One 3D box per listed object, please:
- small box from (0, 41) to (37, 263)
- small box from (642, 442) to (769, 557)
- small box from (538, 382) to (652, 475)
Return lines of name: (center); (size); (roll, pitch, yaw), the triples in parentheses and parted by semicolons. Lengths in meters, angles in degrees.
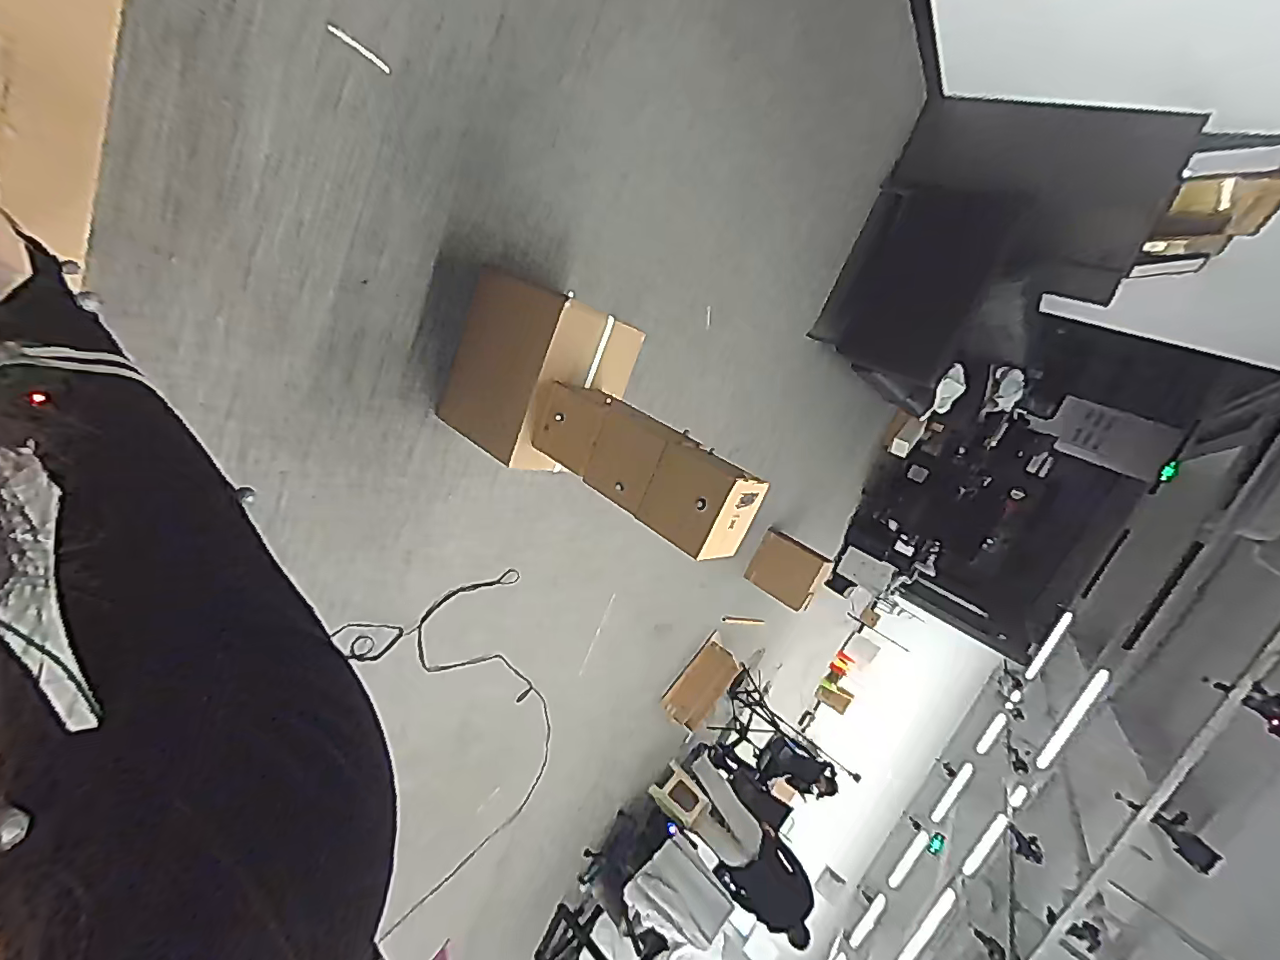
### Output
small box: (-0.603, -0.273, 0.399); (0.179, 0.176, 0.168); (7, 93, -57)
small box: (0.131, 0.037, 1.115); (0.168, 0.176, 0.179); (6, 113, -55)
small box: (-0.107, -0.121, 1.279); (0.179, 0.176, 0.168); (0, 116, -54)
